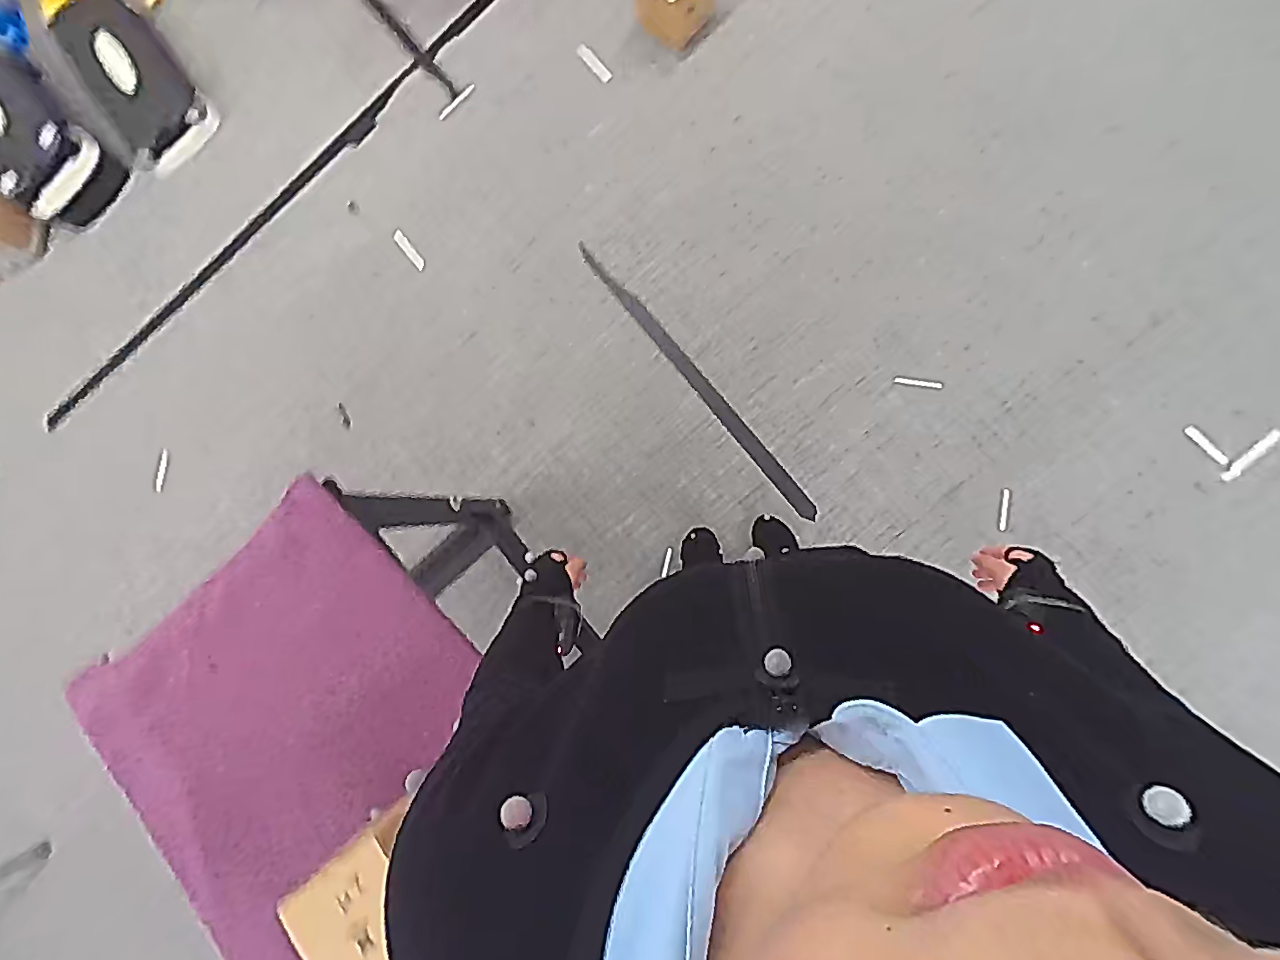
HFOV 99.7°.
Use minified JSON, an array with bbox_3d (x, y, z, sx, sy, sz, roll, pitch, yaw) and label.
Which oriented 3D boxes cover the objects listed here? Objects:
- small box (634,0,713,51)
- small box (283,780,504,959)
[{"bbox_3d":[0.097,-1.386,1.544,0.179,0.176,0.168,43,93,9],"label":"small box"},{"bbox_3d":[-0.315,0.555,0.728,0.168,0.176,0.179,-38,82,4],"label":"small box"}]
